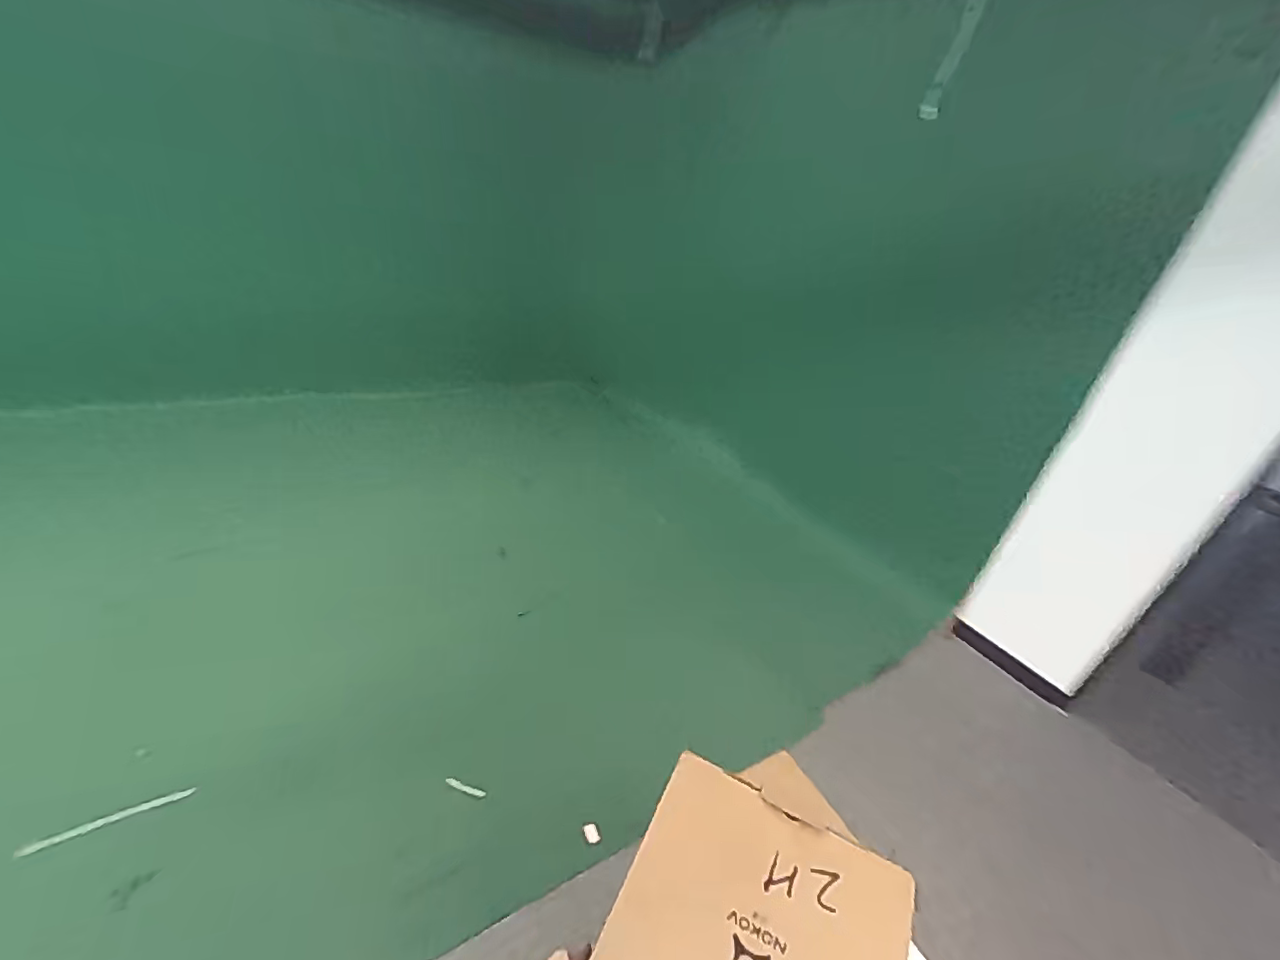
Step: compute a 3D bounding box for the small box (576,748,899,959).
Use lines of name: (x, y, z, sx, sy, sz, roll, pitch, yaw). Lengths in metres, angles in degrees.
small box: (0.053, 0.334, 0.371, 0.168, 0.176, 0.179, 21, 44, 17)
